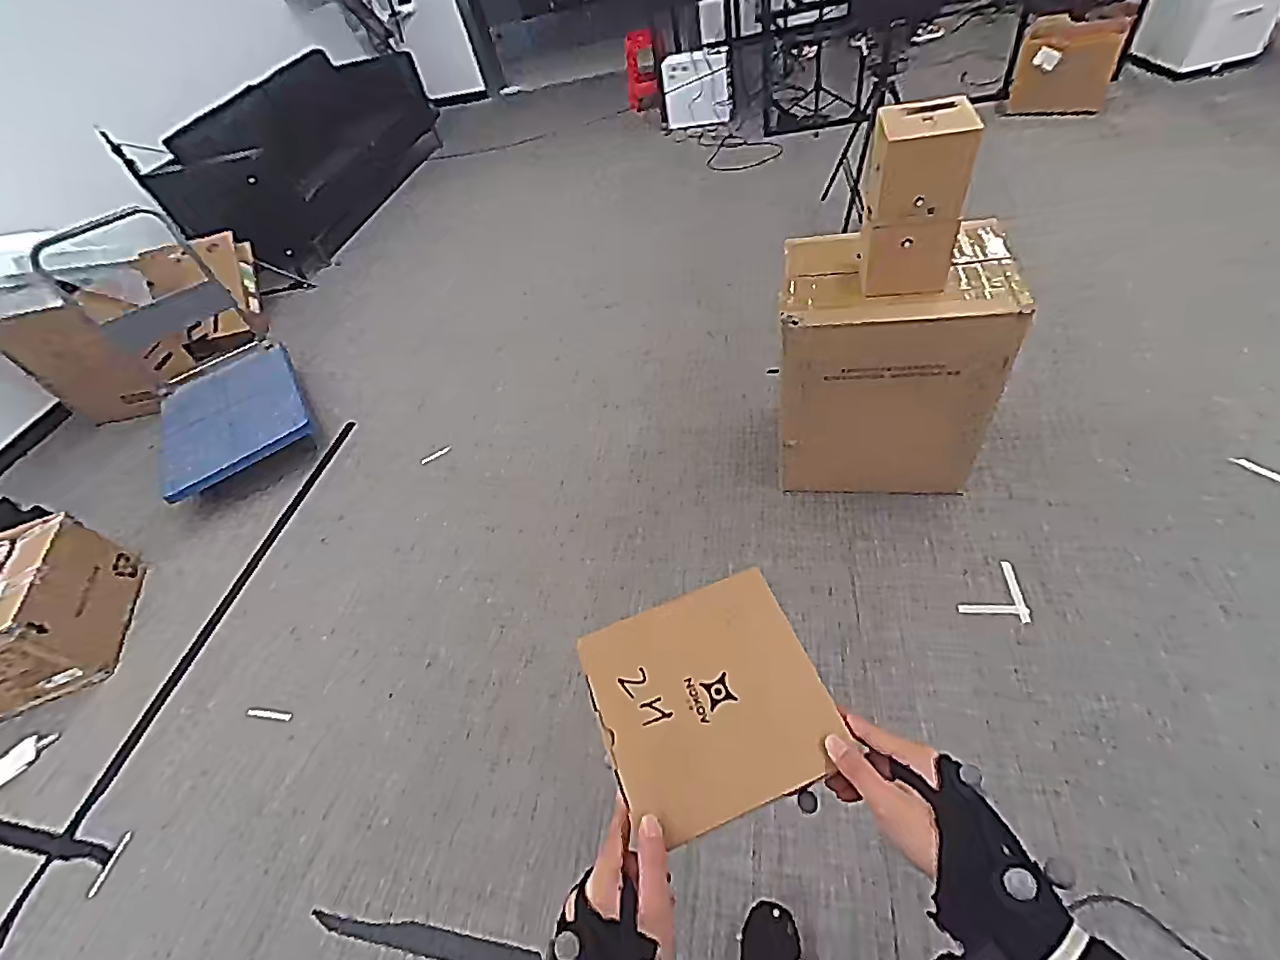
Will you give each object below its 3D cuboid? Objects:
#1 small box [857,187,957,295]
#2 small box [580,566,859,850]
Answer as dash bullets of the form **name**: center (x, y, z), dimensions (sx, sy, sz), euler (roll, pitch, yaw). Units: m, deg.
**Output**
- **small box**: center (0.599, -0.541, 1.238), dimensions (0.179, 0.176, 0.168), euler (1, 51, 15)
- **small box**: center (0.060, 0.209, 0.494), dimensions (0.179, 0.176, 0.168), euler (-20, 57, -7)
